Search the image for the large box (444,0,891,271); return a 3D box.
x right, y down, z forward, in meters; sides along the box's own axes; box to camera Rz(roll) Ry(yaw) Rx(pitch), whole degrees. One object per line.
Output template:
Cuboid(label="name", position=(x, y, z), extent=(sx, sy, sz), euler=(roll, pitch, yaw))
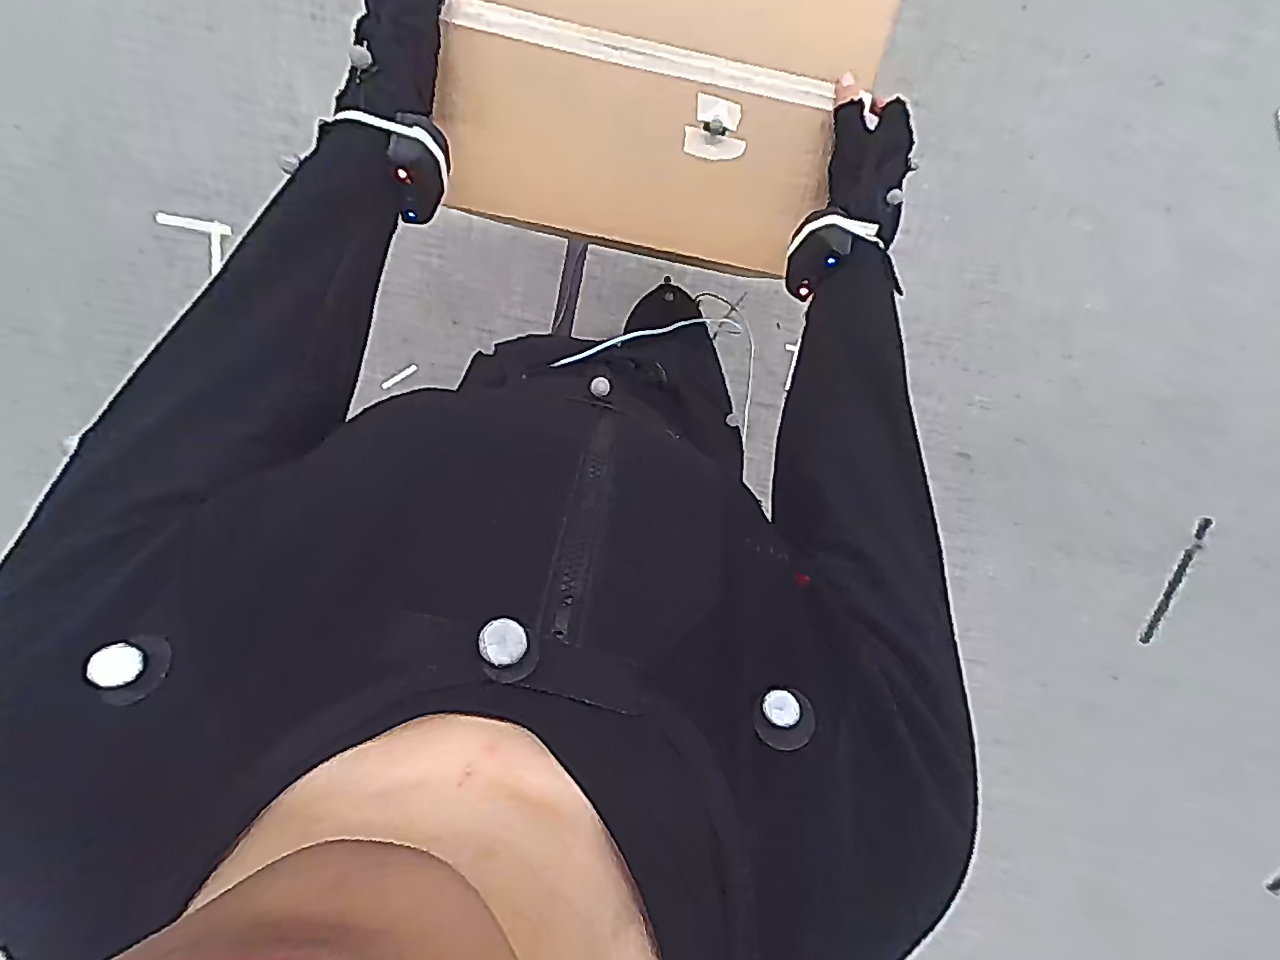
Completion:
Cuboid(label="large box", position=(0.016, -0.448, 0.648), extent=(0.408, 0.320, 0.320), euler=(10, 112, -6))
